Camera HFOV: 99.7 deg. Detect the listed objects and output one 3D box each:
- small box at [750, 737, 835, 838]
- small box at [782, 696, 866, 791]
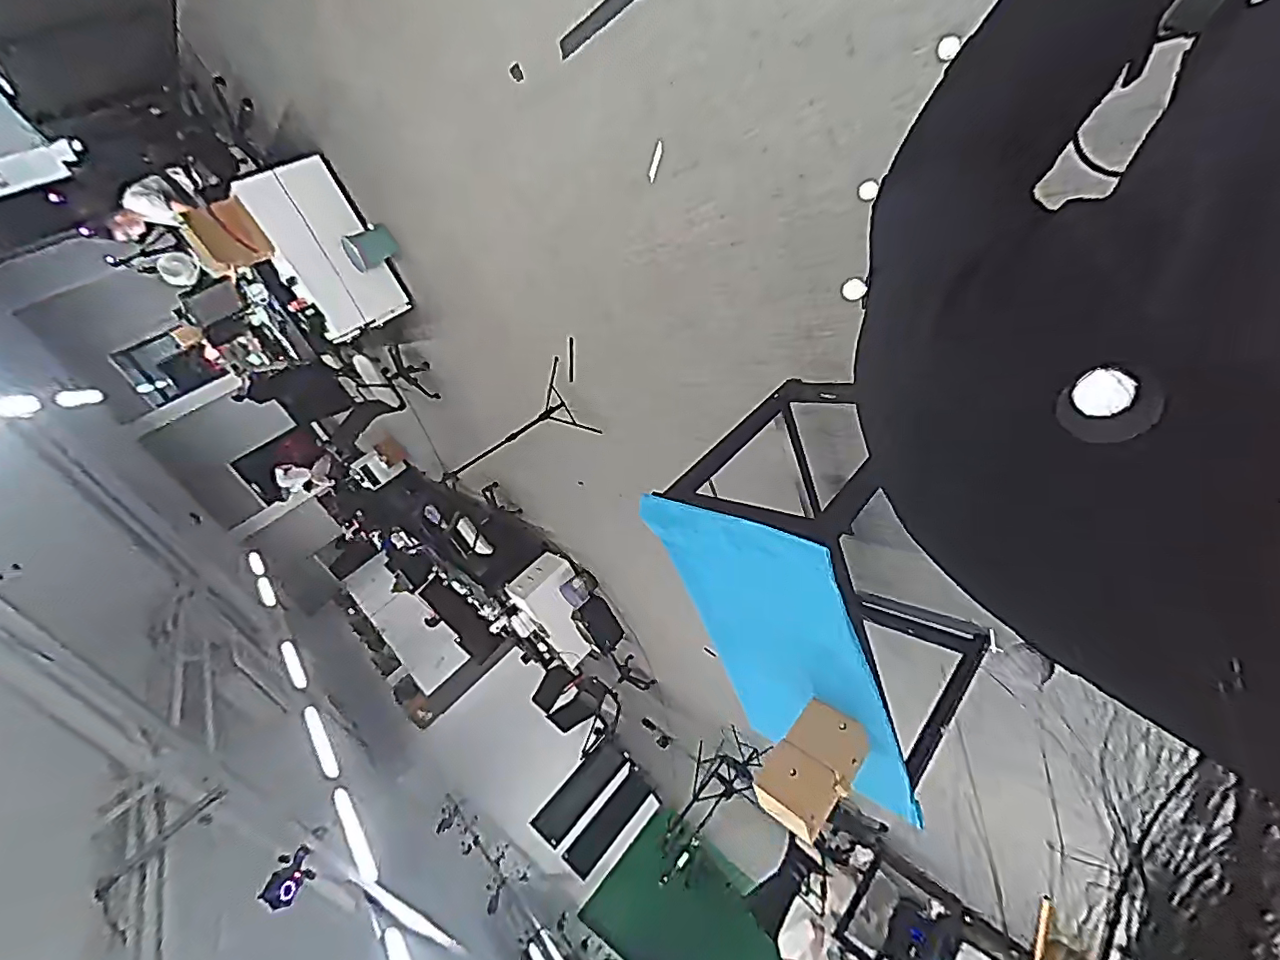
[{"bbox_3d":[0.456,0.919,1.613,0.179,0.176,0.168,18,140,42],"label":"small box"},{"bbox_3d":[0.571,0.818,1.677,0.179,0.176,0.168,16,138,46],"label":"small box"}]
